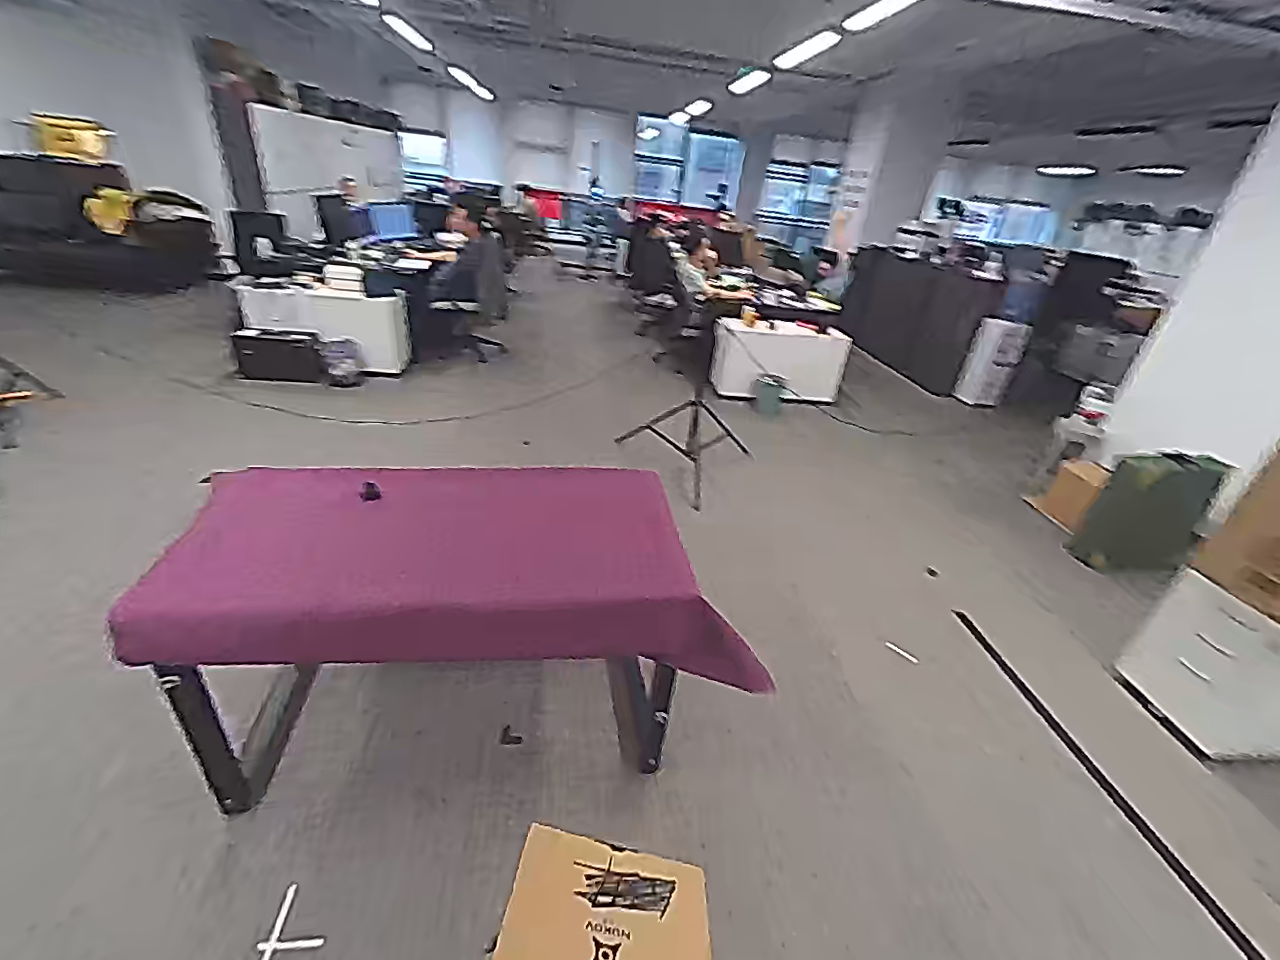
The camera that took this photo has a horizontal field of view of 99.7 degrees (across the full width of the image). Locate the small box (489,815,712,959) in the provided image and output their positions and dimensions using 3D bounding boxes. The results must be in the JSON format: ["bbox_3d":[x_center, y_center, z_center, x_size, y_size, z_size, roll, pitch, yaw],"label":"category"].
[{"bbox_3d":[-0.045,0.419,0.427,0.168,0.176,0.179,14,11,-2],"label":"small box"}]
